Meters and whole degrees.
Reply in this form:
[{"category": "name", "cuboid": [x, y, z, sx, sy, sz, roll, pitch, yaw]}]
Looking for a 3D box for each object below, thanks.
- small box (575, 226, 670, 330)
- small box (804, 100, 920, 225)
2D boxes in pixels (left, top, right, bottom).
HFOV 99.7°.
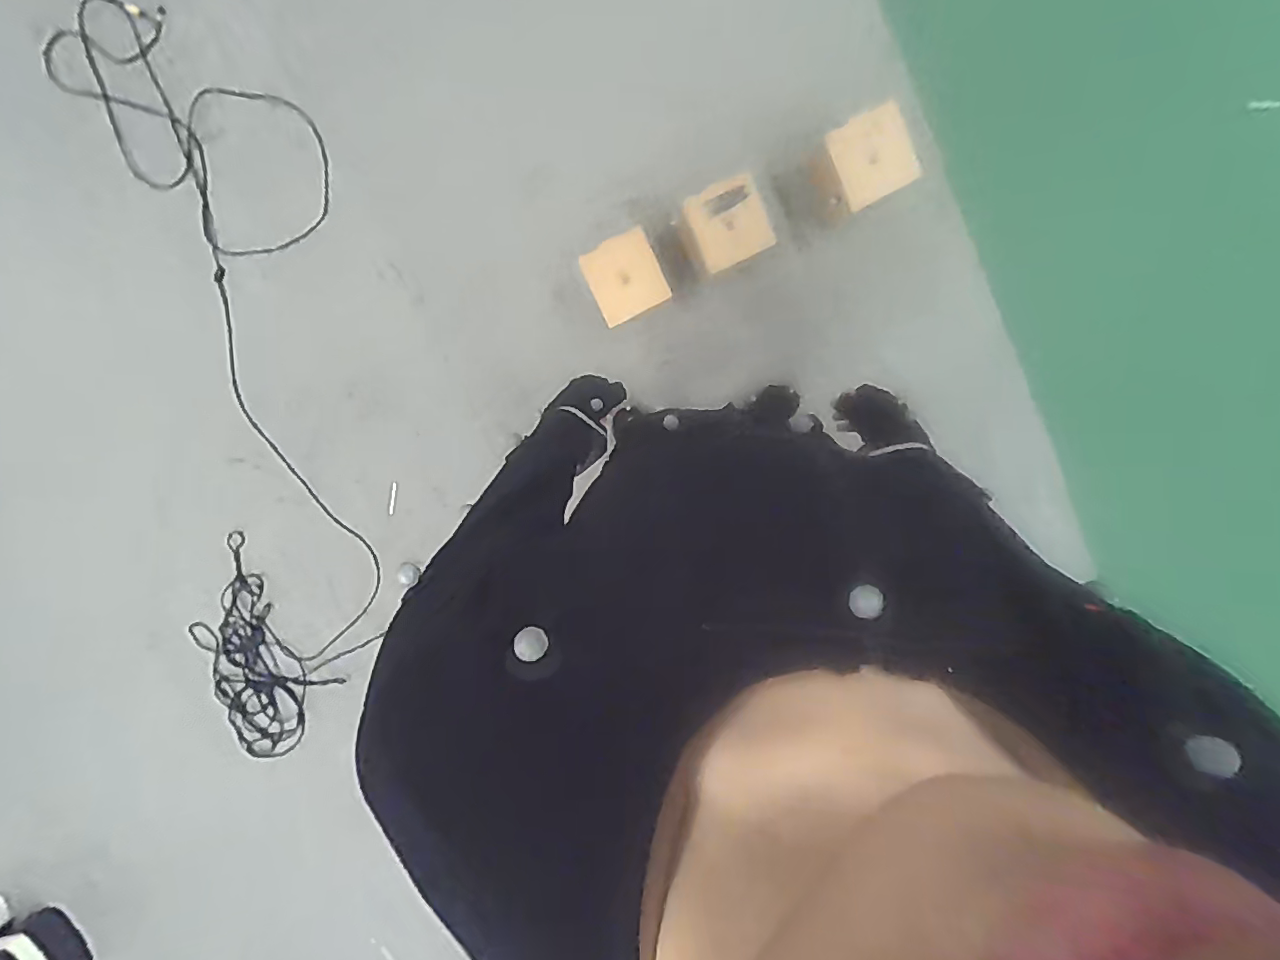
[{"category": "small box", "cuboid": [-0.034, -0.475, 1.307, 0.168, 0.176, 0.179, -26, 98, 7]}, {"category": "small box", "cuboid": [0.502, -0.712, 1.242, 0.168, 0.176, 0.179, -26, 99, 6]}]
